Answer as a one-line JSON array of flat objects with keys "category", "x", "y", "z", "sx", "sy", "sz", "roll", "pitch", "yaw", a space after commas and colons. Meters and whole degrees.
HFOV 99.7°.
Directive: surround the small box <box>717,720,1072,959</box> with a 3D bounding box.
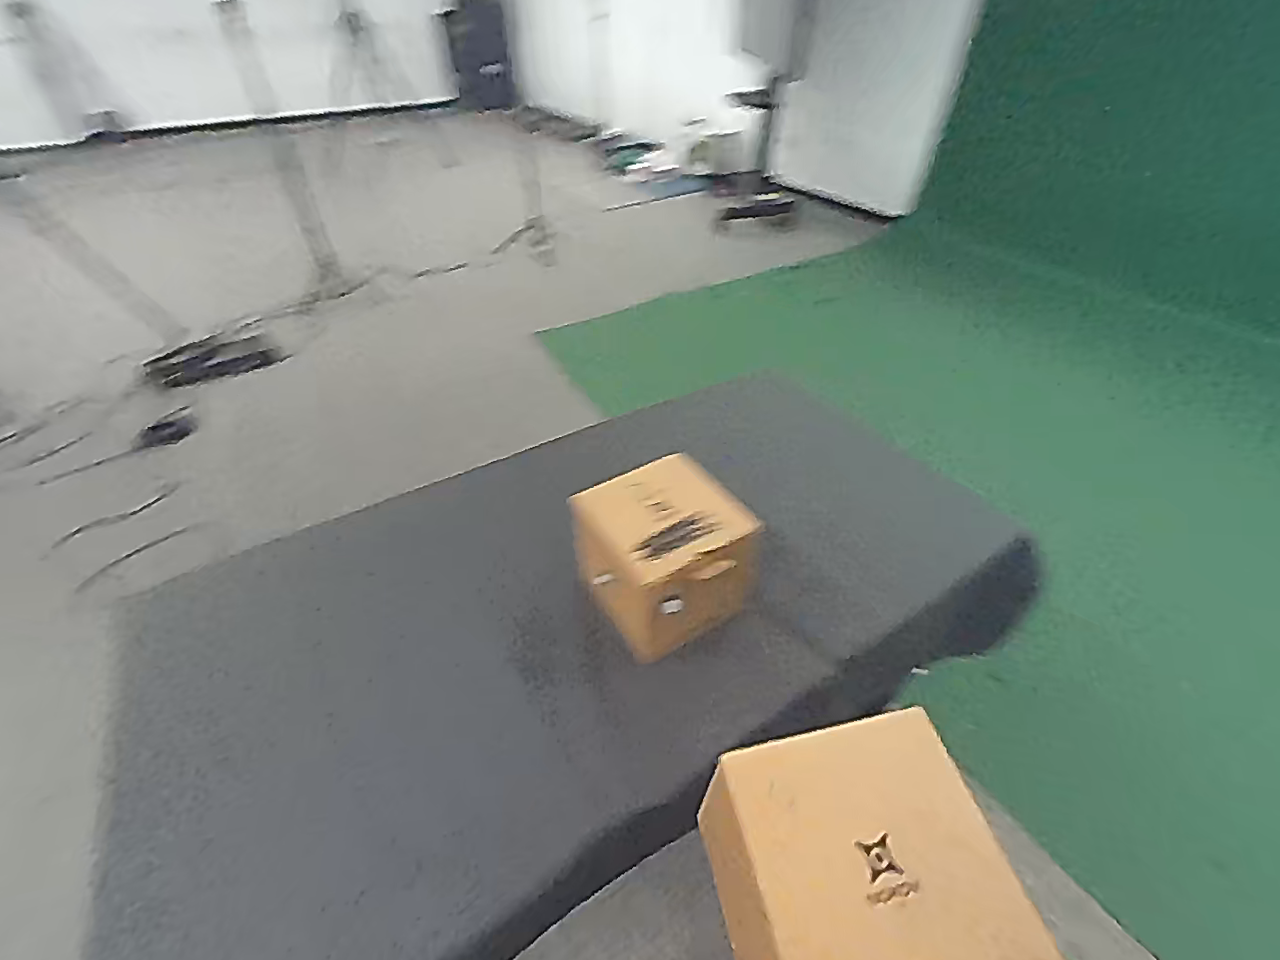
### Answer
[{"category": "small box", "x": 0.164, "y": 0.309, "z": 0.404, "sx": 0.168, "sy": 0.176, "sz": 0.179, "roll": -8, "pitch": 49, "yaw": -8}]
